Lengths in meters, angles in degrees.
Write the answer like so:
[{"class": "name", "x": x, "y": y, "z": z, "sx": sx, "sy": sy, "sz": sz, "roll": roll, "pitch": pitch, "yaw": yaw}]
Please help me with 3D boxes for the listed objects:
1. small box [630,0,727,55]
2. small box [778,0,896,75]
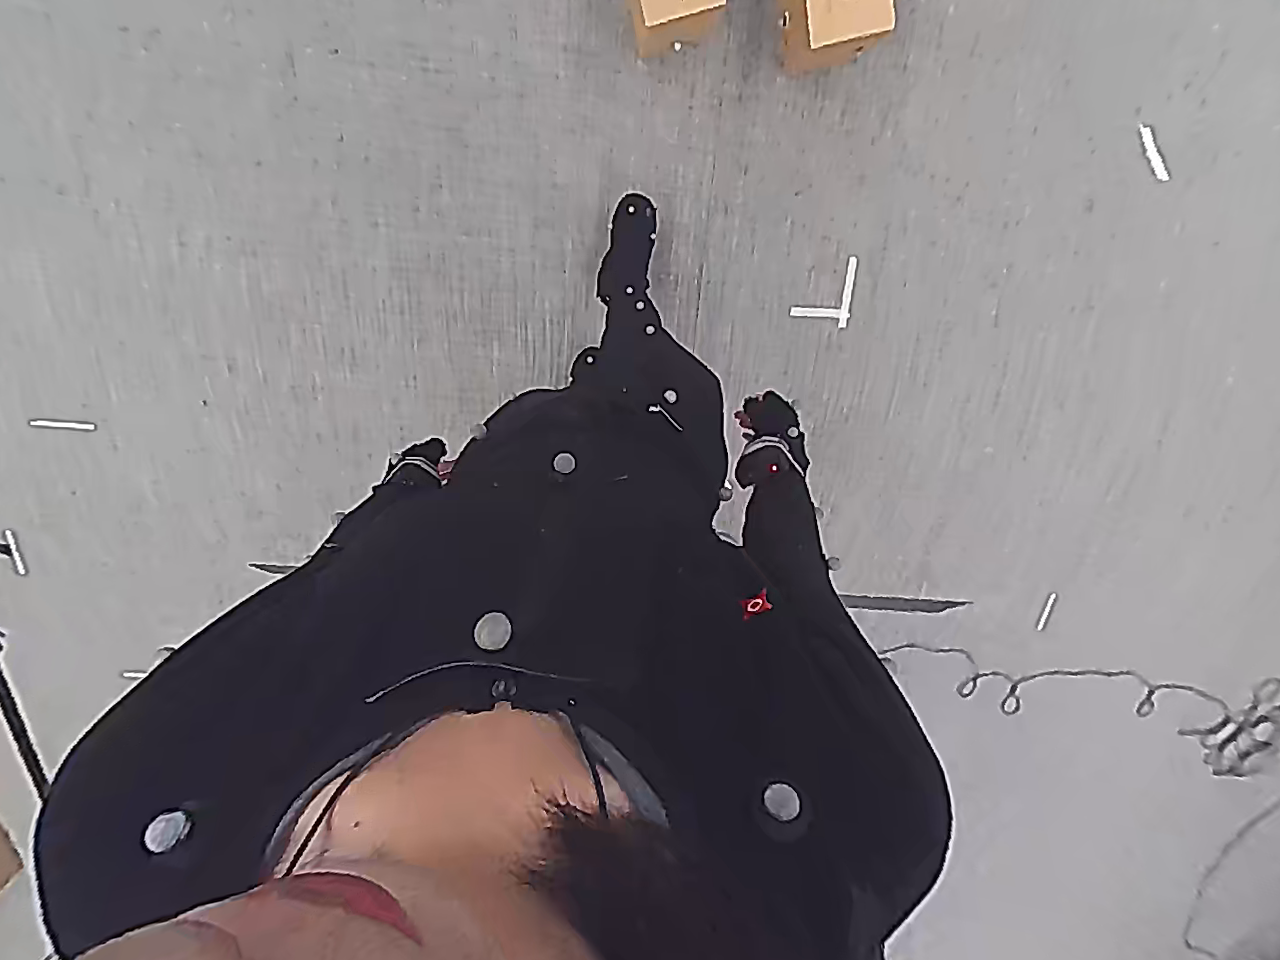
[{"class": "small box", "x": 0.065, "y": -1.010, "z": 1.091, "sx": 0.168, "sy": 0.176, "sz": 0.179, "roll": -14, "pitch": 111, "yaw": 2}, {"class": "small box", "x": 0.403, "y": -0.982, "z": 1.122, "sx": 0.179, "sy": 0.176, "sz": 0.168, "roll": -13, "pitch": 110, "yaw": 3}]
